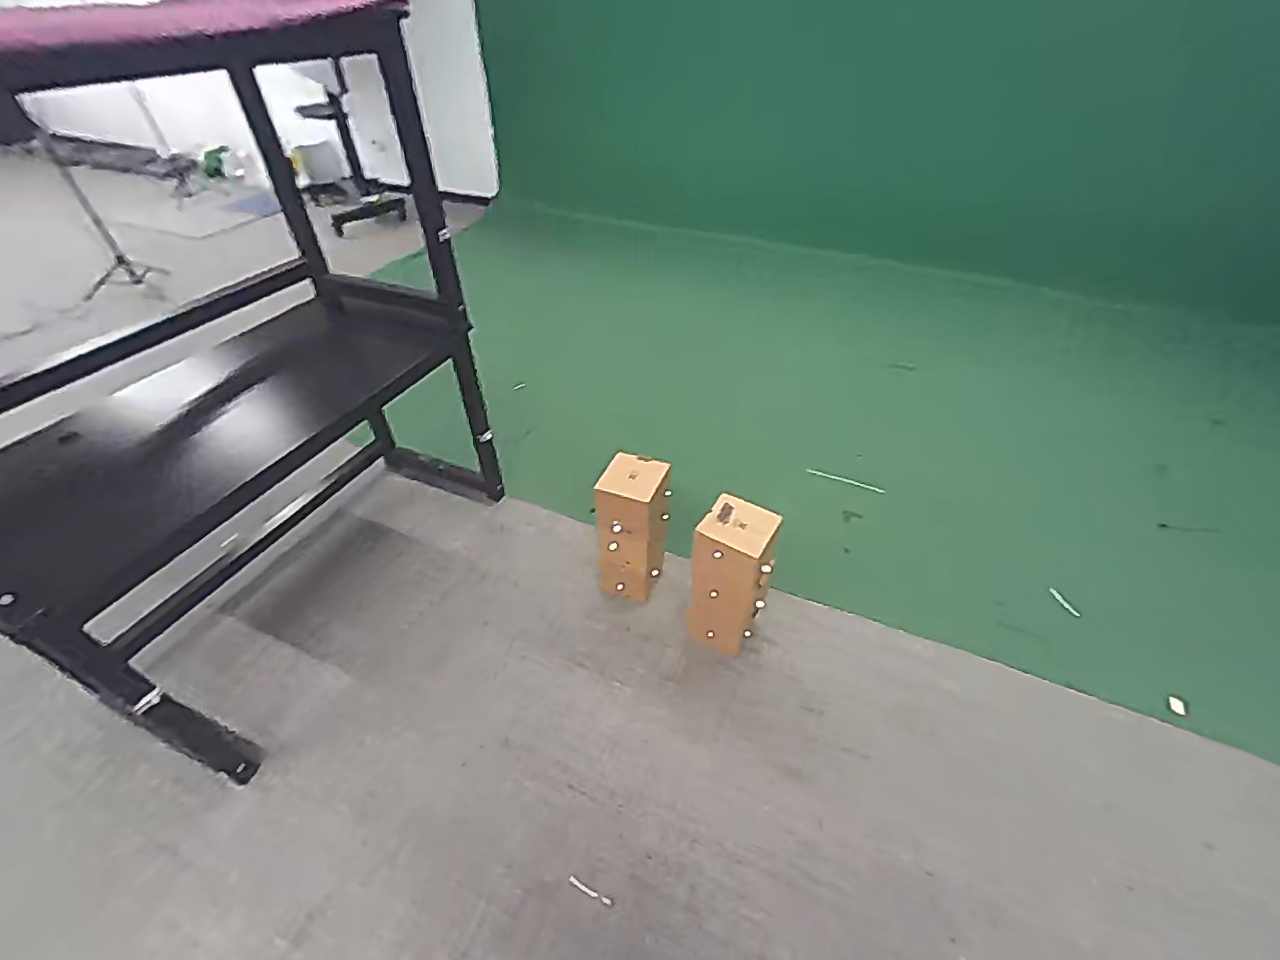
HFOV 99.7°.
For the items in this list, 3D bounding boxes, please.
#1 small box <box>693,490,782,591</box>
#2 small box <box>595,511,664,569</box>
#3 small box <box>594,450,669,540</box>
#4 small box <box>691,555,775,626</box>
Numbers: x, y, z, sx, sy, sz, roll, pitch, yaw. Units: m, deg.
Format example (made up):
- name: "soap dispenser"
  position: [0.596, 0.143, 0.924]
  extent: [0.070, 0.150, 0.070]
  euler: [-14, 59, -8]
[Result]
- name: "small box"
  position: [0.252, 0.163, 1.433]
  extent: [0.179, 0.176, 0.168]
  euler: [24, 48, 23]
- name: "small box"
  position: [-0.026, 0.151, 1.691]
  extent: [0.168, 0.176, 0.179]
  euler: [16, 44, 17]
- name: "small box"
  position: [-0.021, 0.043, 1.568]
  extent: [0.168, 0.176, 0.179]
  euler: [13, 45, 16]
- name: "small box"
  position: [0.259, 0.284, 1.543]
  extent: [0.179, 0.176, 0.168]
  euler: [26, 49, 25]
